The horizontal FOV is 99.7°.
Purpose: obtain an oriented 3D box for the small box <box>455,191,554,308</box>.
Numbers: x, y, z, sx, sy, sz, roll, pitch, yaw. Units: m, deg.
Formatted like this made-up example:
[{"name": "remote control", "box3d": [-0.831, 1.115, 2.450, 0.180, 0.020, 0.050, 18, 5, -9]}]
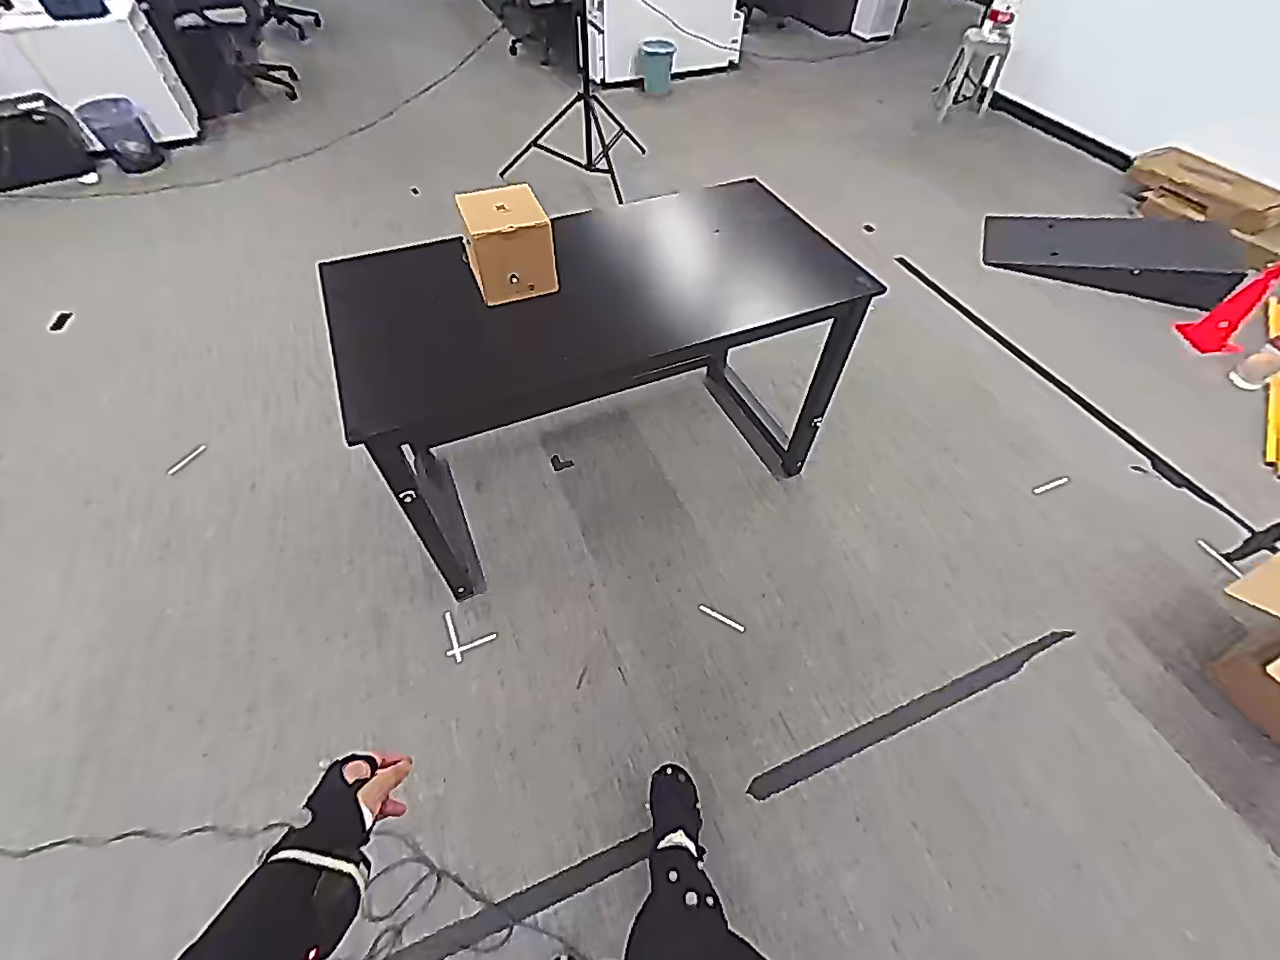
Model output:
[{"name": "small box", "box3d": [-0.300, -0.515, 1.213, 0.168, 0.176, 0.179, -18, 56, -14]}]
